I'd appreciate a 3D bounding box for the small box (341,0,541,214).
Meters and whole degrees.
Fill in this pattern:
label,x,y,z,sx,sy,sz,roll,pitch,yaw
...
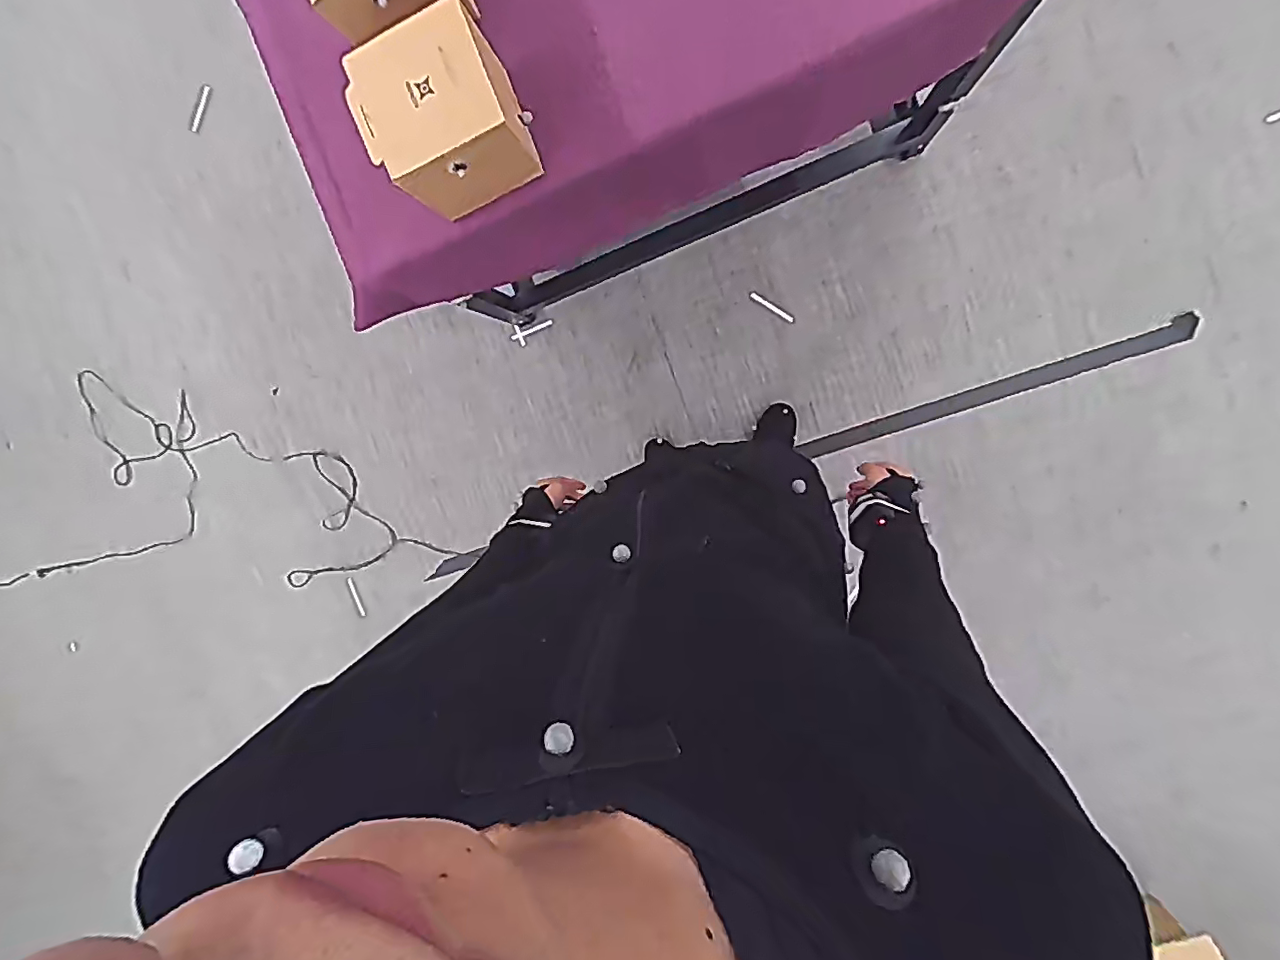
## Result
label,x,y,z,sx,sy,sz,roll,pitch,yaw
small box,-0.267,-0.509,0.764,0.179,0.176,0.168,-20,95,11

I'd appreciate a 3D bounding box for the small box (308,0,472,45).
label,x,y,z,sx,sy,sz,roll,pitch,yaw
small box,-0.367,-0.728,0.744,0.179,0.176,0.168,-23,95,11
